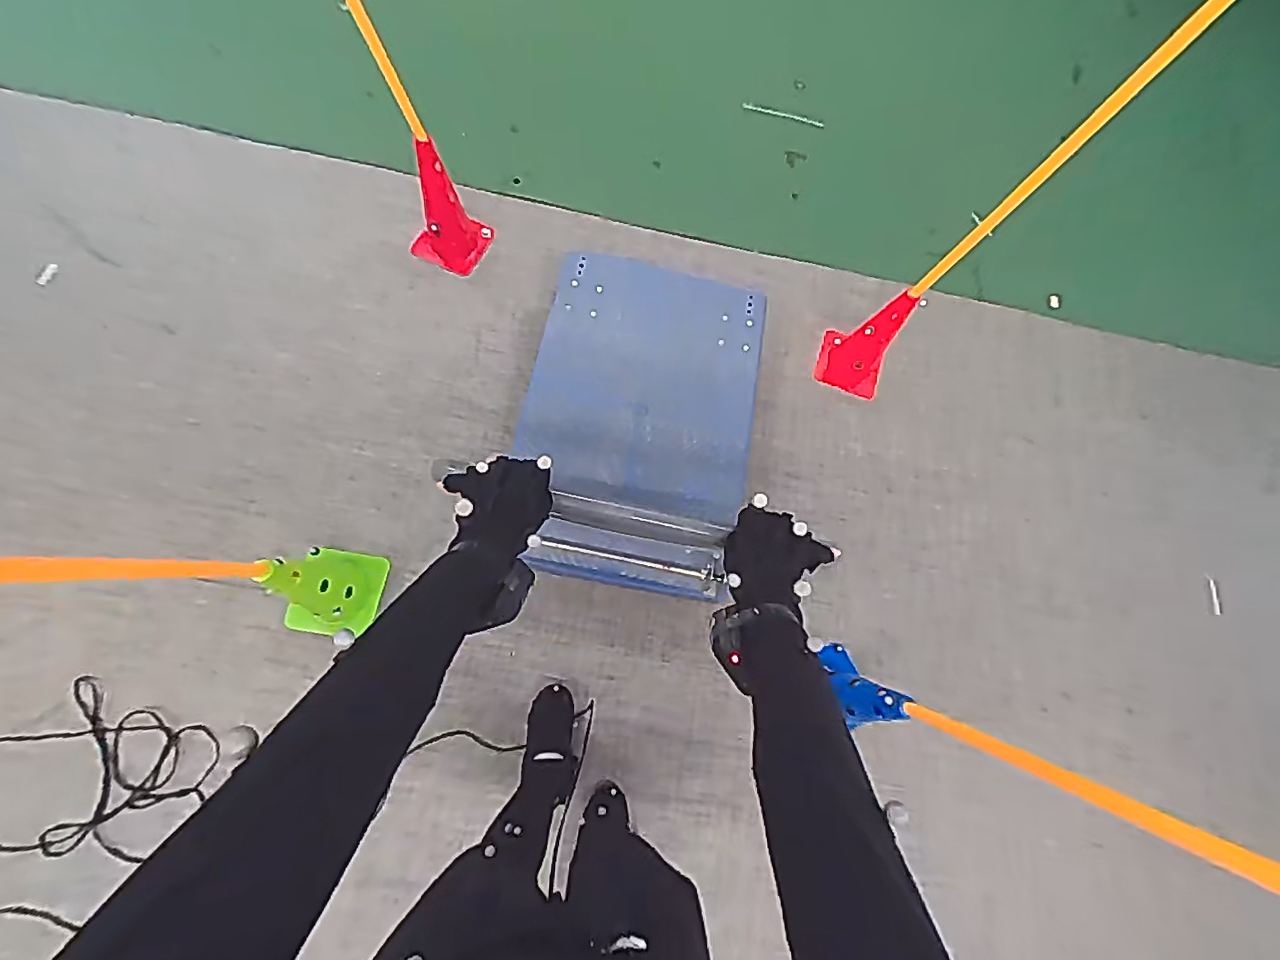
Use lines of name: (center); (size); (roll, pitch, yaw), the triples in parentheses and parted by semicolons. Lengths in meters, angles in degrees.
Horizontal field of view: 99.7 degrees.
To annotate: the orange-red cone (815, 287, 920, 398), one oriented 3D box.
orange-red cone: (0.677, -0.419, 1.537); (0.198, 0.360, 0.199); (22, 71, 1)
